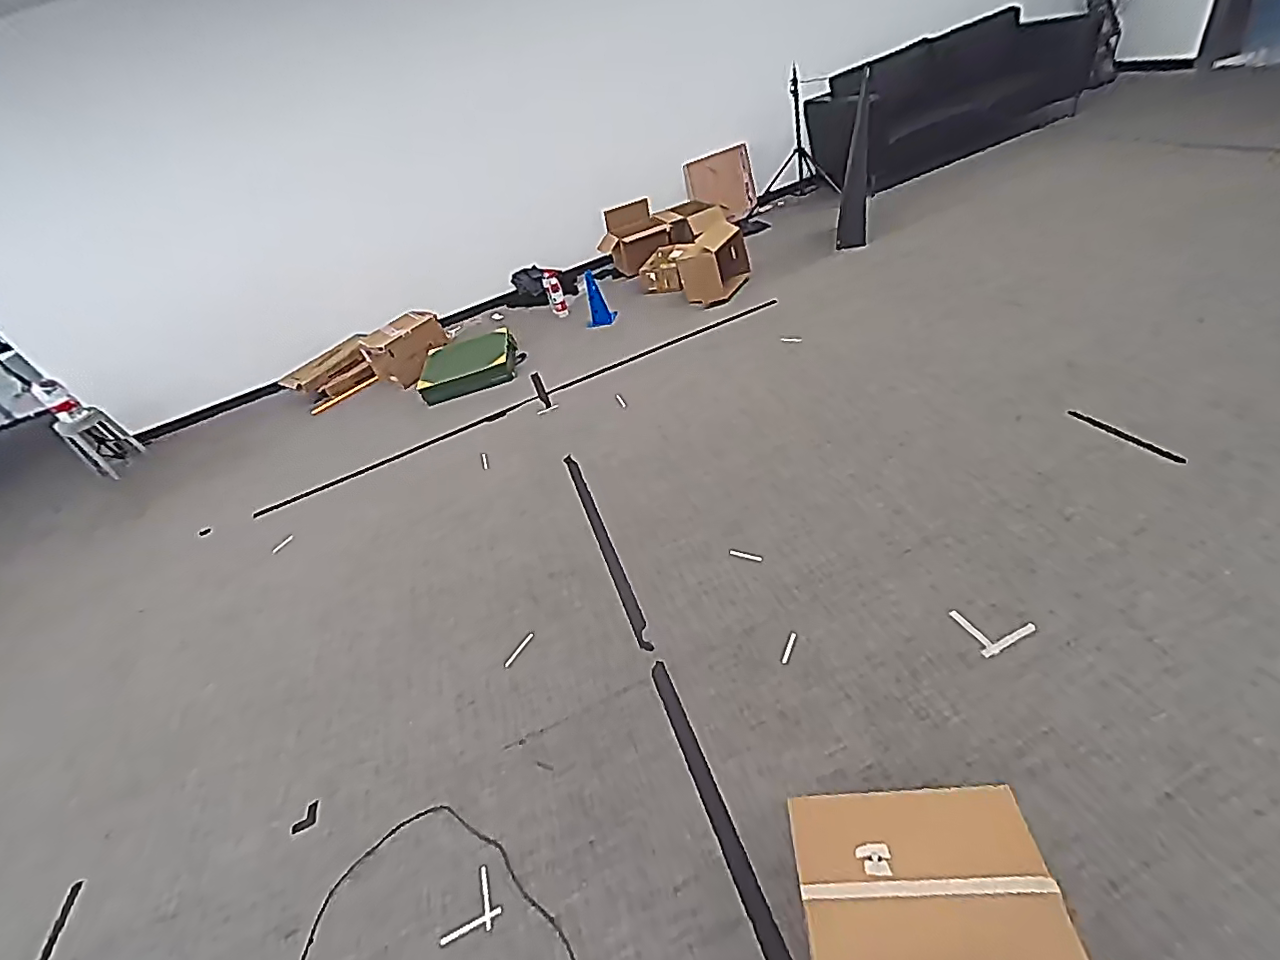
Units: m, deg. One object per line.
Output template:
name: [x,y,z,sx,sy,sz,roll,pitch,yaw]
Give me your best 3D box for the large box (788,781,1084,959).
large box: [0.522,0.807,1.018,0.408,0.320,0.320,-11,38,11]
